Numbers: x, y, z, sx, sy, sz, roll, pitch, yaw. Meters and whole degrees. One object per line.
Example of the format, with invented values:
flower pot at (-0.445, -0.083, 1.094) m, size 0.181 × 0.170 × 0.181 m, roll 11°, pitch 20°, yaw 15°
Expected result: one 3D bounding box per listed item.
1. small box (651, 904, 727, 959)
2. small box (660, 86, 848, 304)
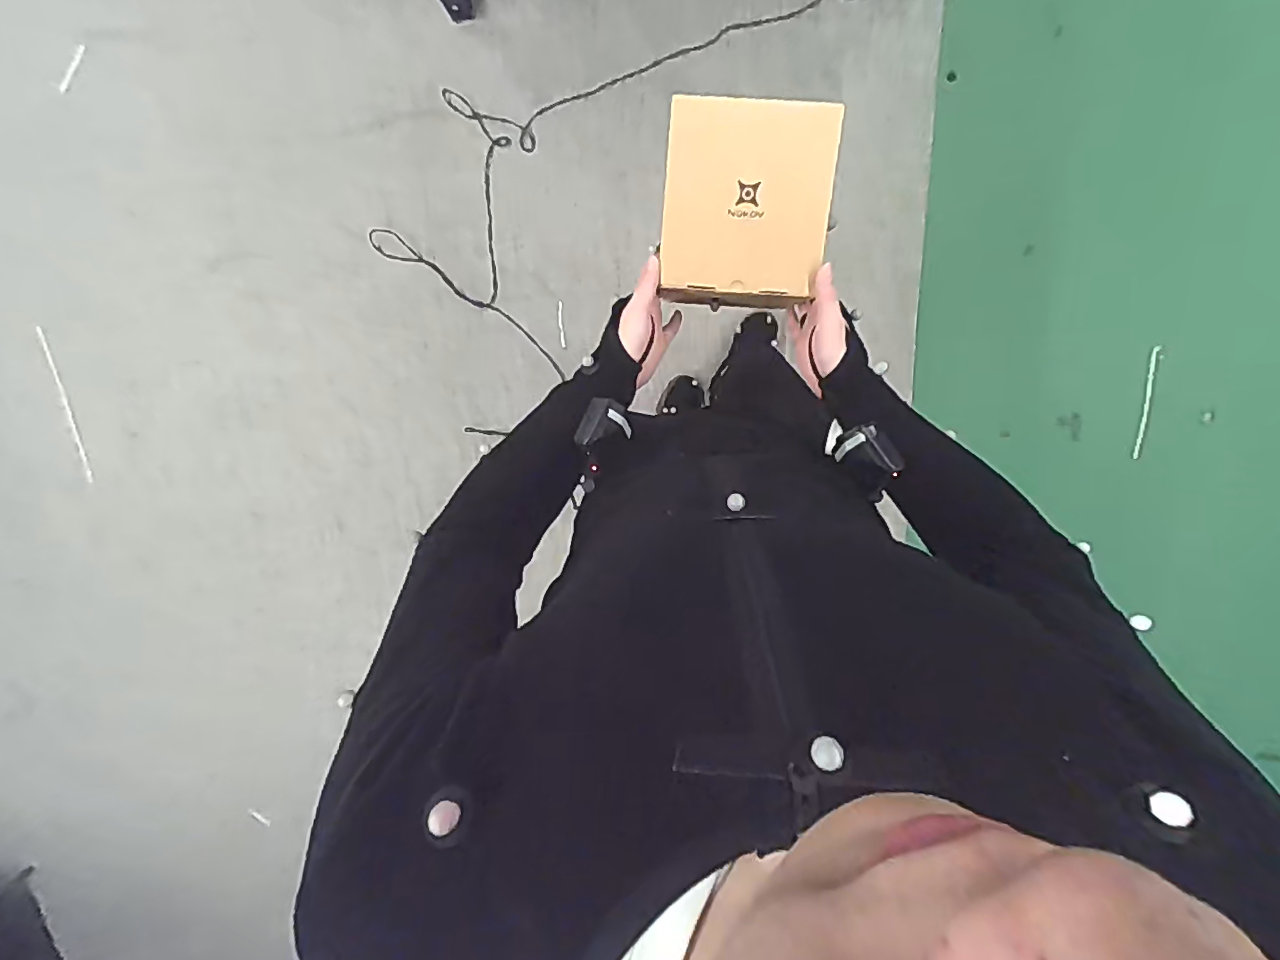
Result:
small box at (0.110, 1.119, 1.231) m, size 0.168 × 0.176 × 0.179 m, roll 1°, pitch 105°, yaw 0°
small box at (0.110, -0.297, 0.601) m, size 0.168 × 0.176 × 0.179 m, roll 4°, pitch 105°, yaw 1°
